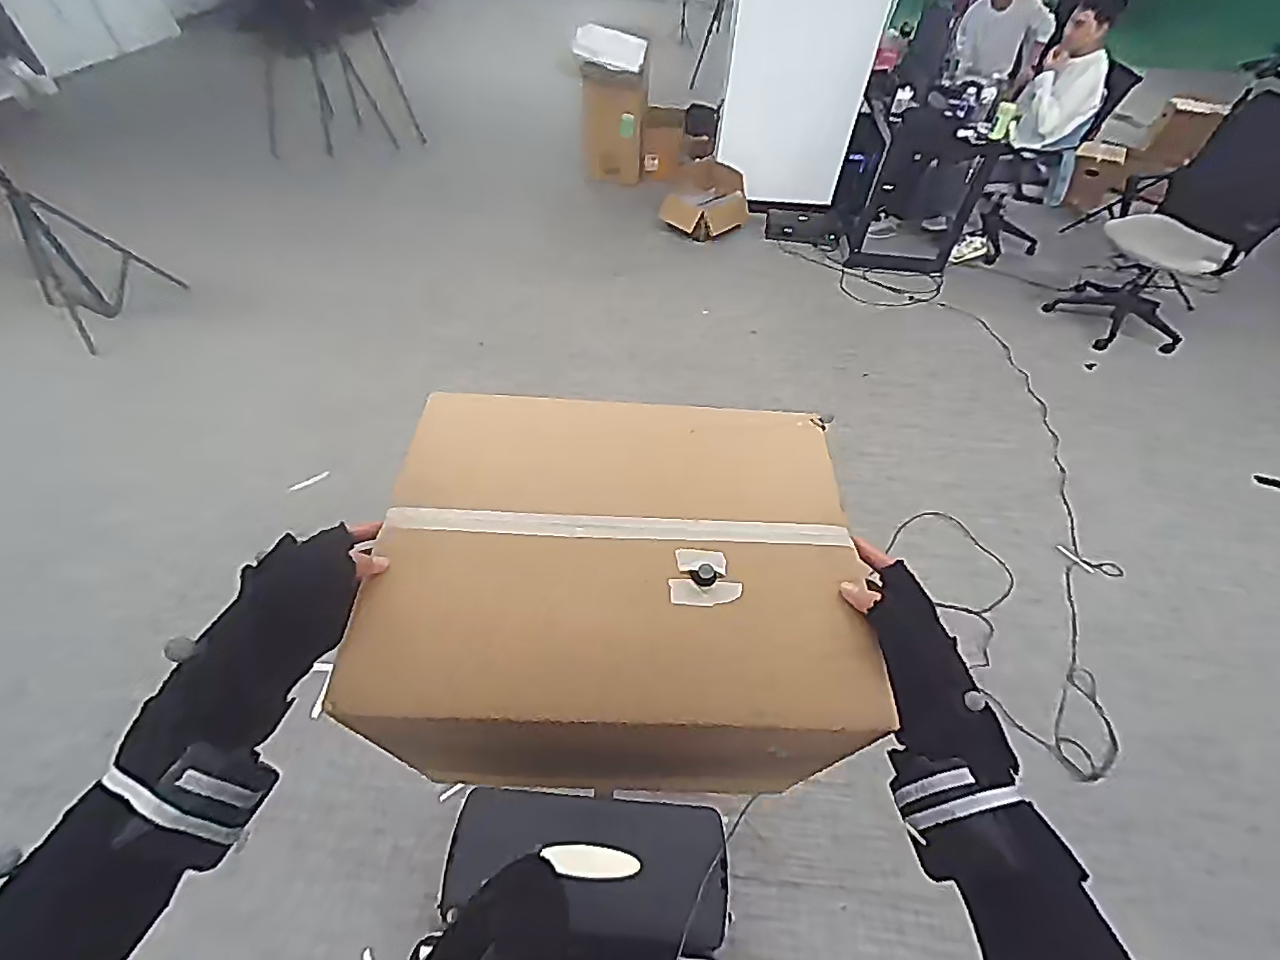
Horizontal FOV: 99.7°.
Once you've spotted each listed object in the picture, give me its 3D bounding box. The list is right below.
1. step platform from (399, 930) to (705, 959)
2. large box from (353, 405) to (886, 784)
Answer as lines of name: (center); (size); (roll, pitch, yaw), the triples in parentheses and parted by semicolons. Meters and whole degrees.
step platform: (-0.180, 1.123, 1.092); (0.684, 0.204, 0.286); (4, 50, 2)
large box: (-0.022, 0.140, 0.603); (0.408, 0.320, 0.320); (3, 53, -3)
